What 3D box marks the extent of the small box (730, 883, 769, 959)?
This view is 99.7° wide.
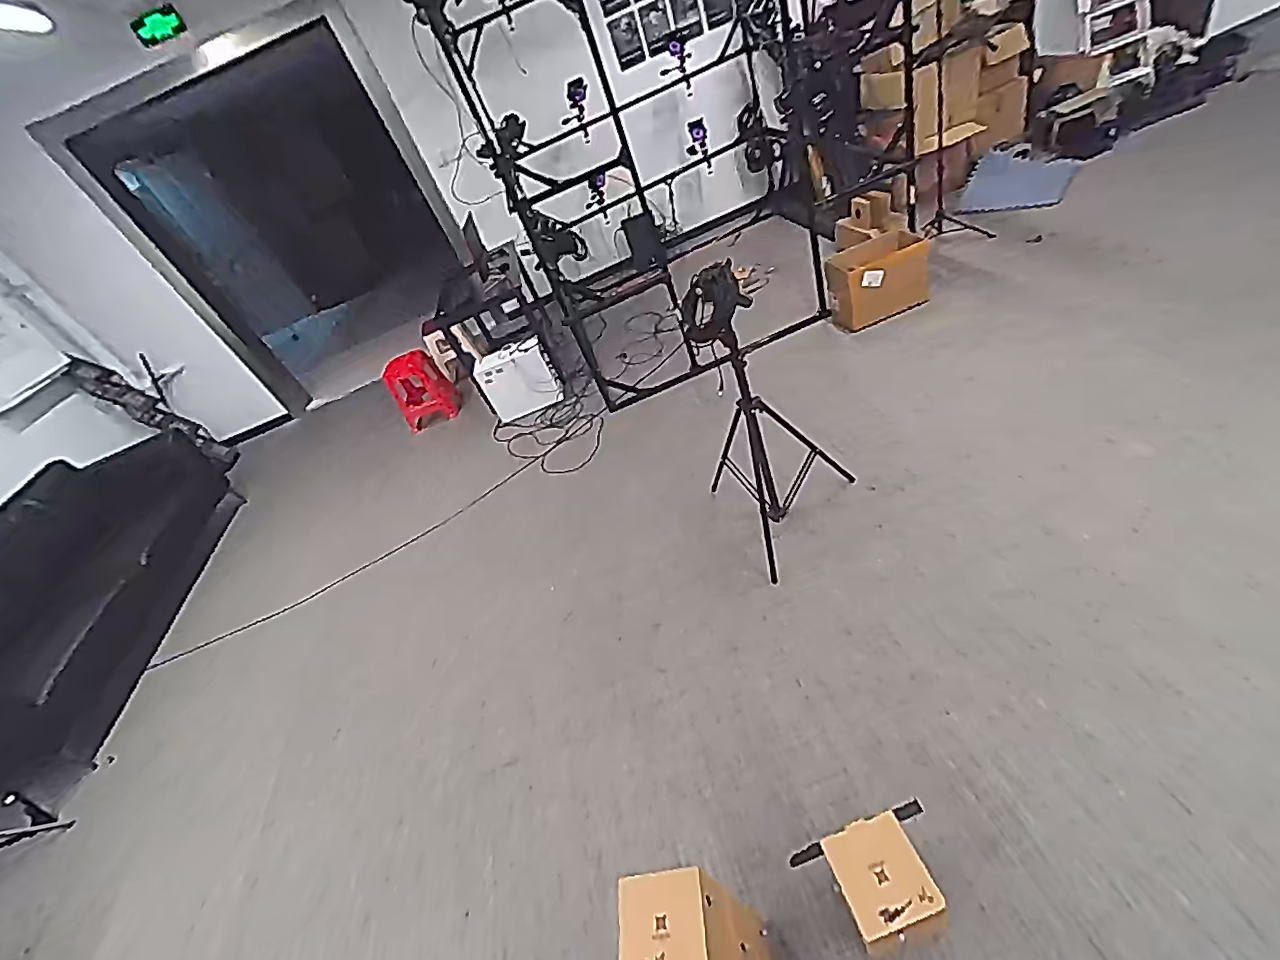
[{"bbox_3d":[0.181,1.030,1.185,0.168,0.176,0.179,-22,38,4],"label":"small box"}]

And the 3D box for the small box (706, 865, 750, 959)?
[{"bbox_3d":[0.116,0.917,1.089,0.168,0.176,0.179,-21,39,7],"label":"small box"}]

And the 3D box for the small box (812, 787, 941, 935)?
[{"bbox_3d":[0.467,0.758,1.077,0.168,0.176,0.179,-24,38,1],"label":"small box"}]
